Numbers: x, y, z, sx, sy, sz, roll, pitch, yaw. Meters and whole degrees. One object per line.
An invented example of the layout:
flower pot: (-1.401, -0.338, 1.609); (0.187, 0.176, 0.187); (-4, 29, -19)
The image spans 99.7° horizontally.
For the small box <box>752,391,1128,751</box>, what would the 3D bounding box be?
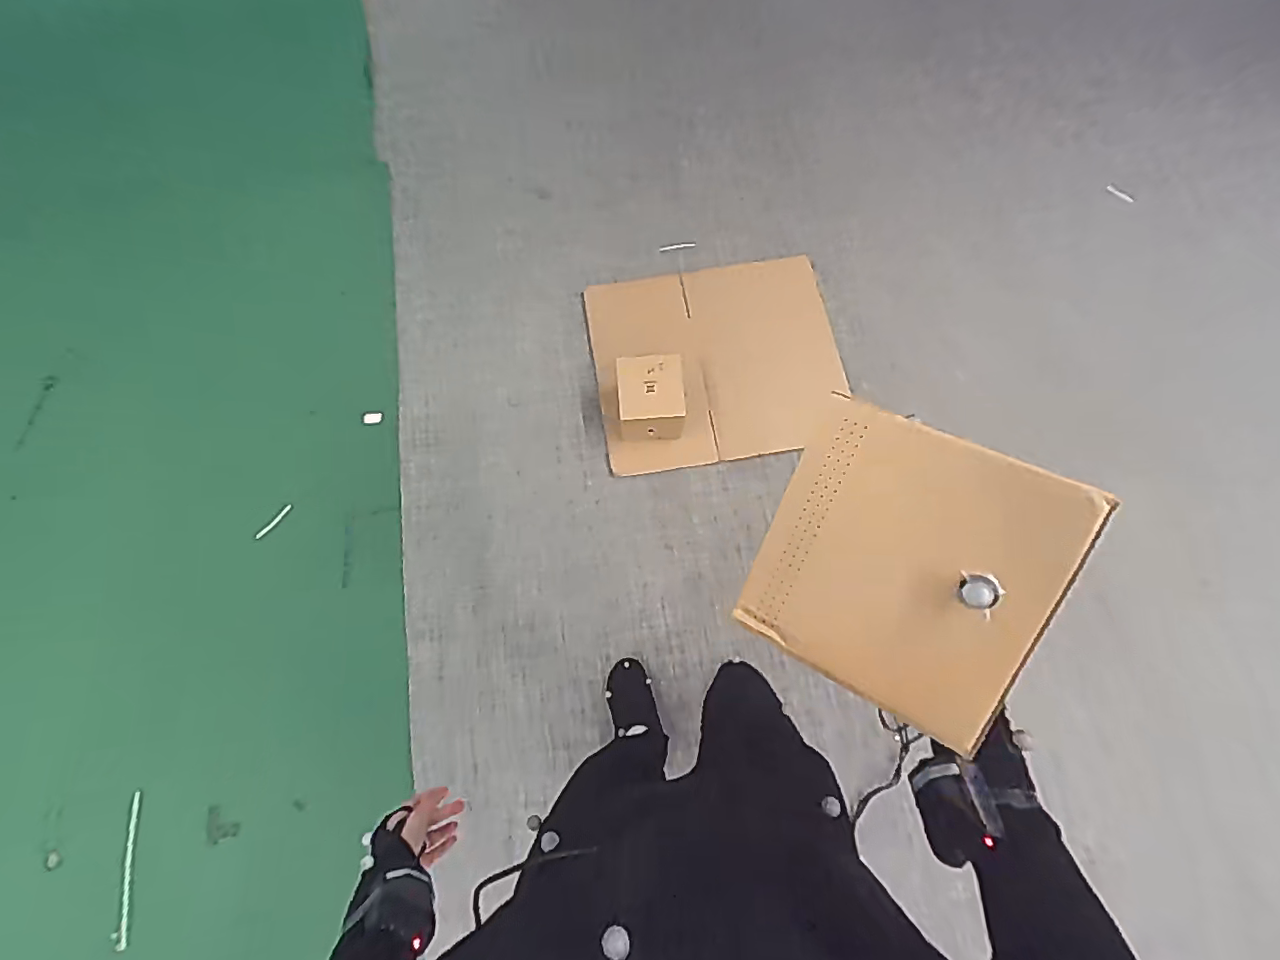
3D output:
small box: (0.199, 0.052, 0.409); (0.176, 0.168, 0.179); (26, 101, 23)

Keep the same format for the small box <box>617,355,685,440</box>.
small box: (0.028, -0.210, 1.424); (0.168, 0.176, 0.179); (-4, 74, -1)
